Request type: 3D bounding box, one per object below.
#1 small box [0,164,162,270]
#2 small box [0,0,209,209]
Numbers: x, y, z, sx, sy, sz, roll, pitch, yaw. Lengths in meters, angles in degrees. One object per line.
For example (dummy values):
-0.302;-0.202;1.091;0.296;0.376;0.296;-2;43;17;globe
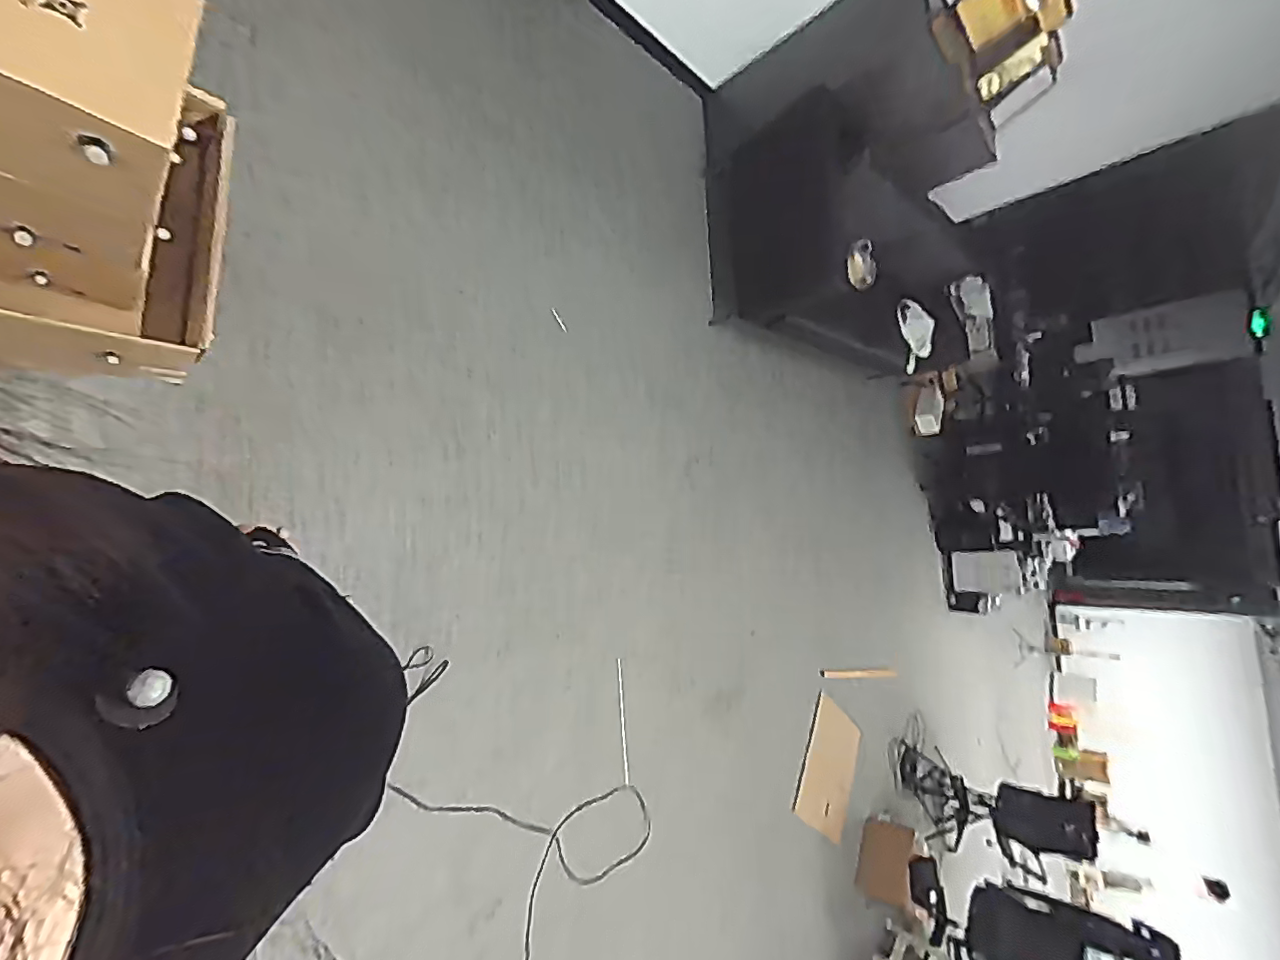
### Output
-0.641;-0.370;0.602;0.168;0.176;0.179;11;78;-44;small box
-0.524;-0.378;0.486;0.179;0.176;0.168;13;76;-43;small box
